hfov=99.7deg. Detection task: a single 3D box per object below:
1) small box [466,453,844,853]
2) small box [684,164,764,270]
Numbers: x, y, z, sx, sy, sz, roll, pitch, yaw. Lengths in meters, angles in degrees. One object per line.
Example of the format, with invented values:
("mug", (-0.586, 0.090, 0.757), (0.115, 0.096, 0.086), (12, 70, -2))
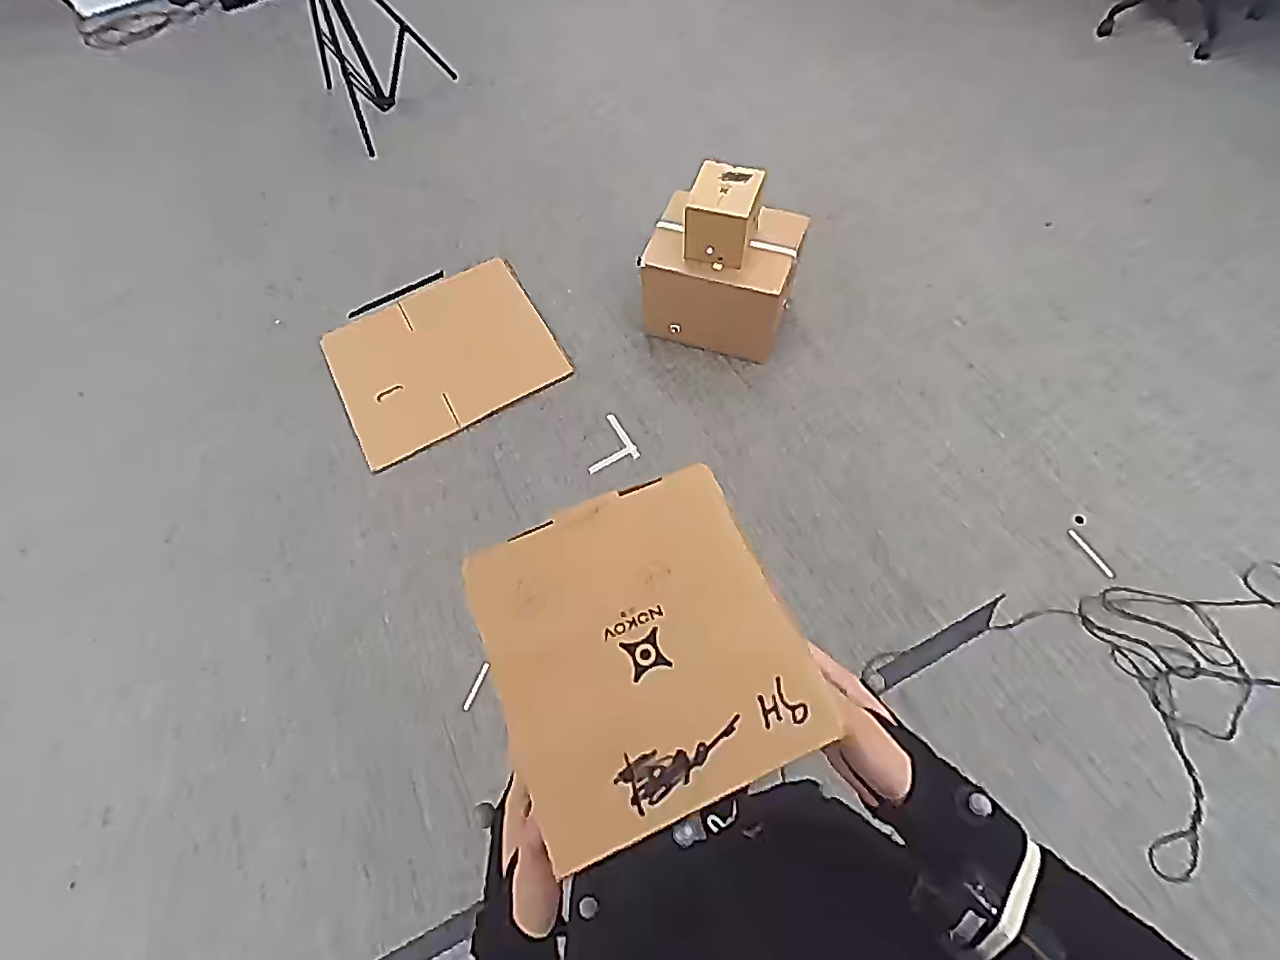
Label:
("small box", (0.003, 0.115, 0.376), (0.168, 0.176, 0.179), (-23, 66, -7))
("small box", (0.220, -0.700, 1.447), (0.168, 0.176, 0.179), (17, 69, 12))
